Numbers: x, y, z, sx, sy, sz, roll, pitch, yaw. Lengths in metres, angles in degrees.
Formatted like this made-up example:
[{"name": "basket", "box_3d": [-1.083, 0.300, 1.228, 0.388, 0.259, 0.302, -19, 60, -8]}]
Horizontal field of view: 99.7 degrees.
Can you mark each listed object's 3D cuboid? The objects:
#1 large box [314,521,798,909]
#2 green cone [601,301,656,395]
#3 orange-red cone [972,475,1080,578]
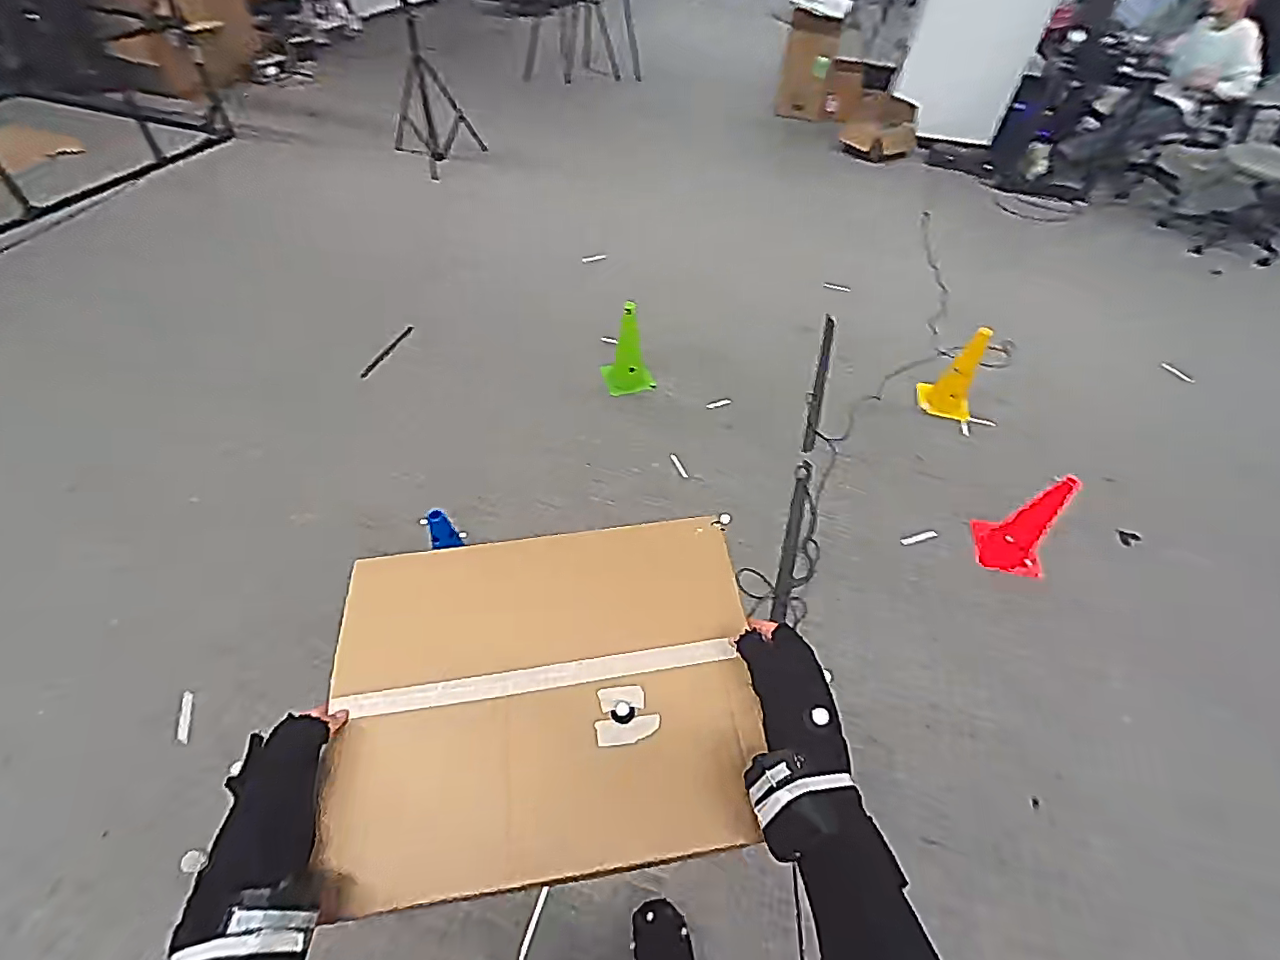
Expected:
[{"name": "large box", "box_3d": [-0.084, 0.279, 0.644, 0.408, 0.320, 0.320, -6, 54, -5]}, {"name": "green cone", "box_3d": [-0.048, -0.557, 2.196, 0.202, 0.368, 0.200, -15, 51, -13]}, {"name": "orange-red cone", "box_3d": [1.240, 0.116, 1.692, 0.198, 0.360, 0.199, 14, 48, 7]}]
